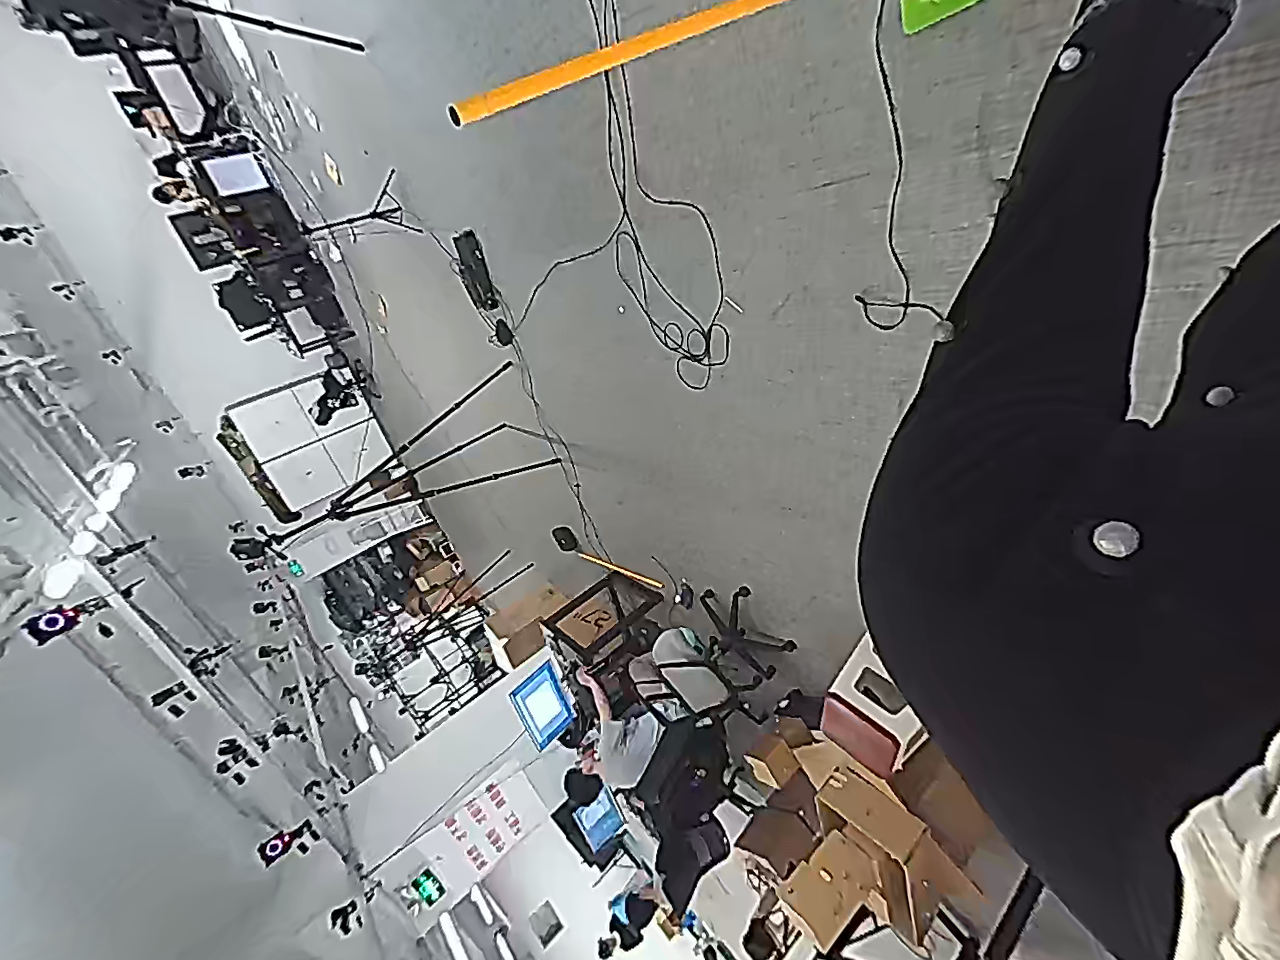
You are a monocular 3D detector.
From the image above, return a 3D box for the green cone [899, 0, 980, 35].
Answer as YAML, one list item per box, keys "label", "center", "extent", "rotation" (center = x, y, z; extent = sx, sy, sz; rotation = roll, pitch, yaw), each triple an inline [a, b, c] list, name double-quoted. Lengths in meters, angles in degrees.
- label: "green cone"
  center: [0.523, -1.039, 1.091]
  extent: [0.202, 0.368, 0.200]
  rotation: [16, 131, 53]
